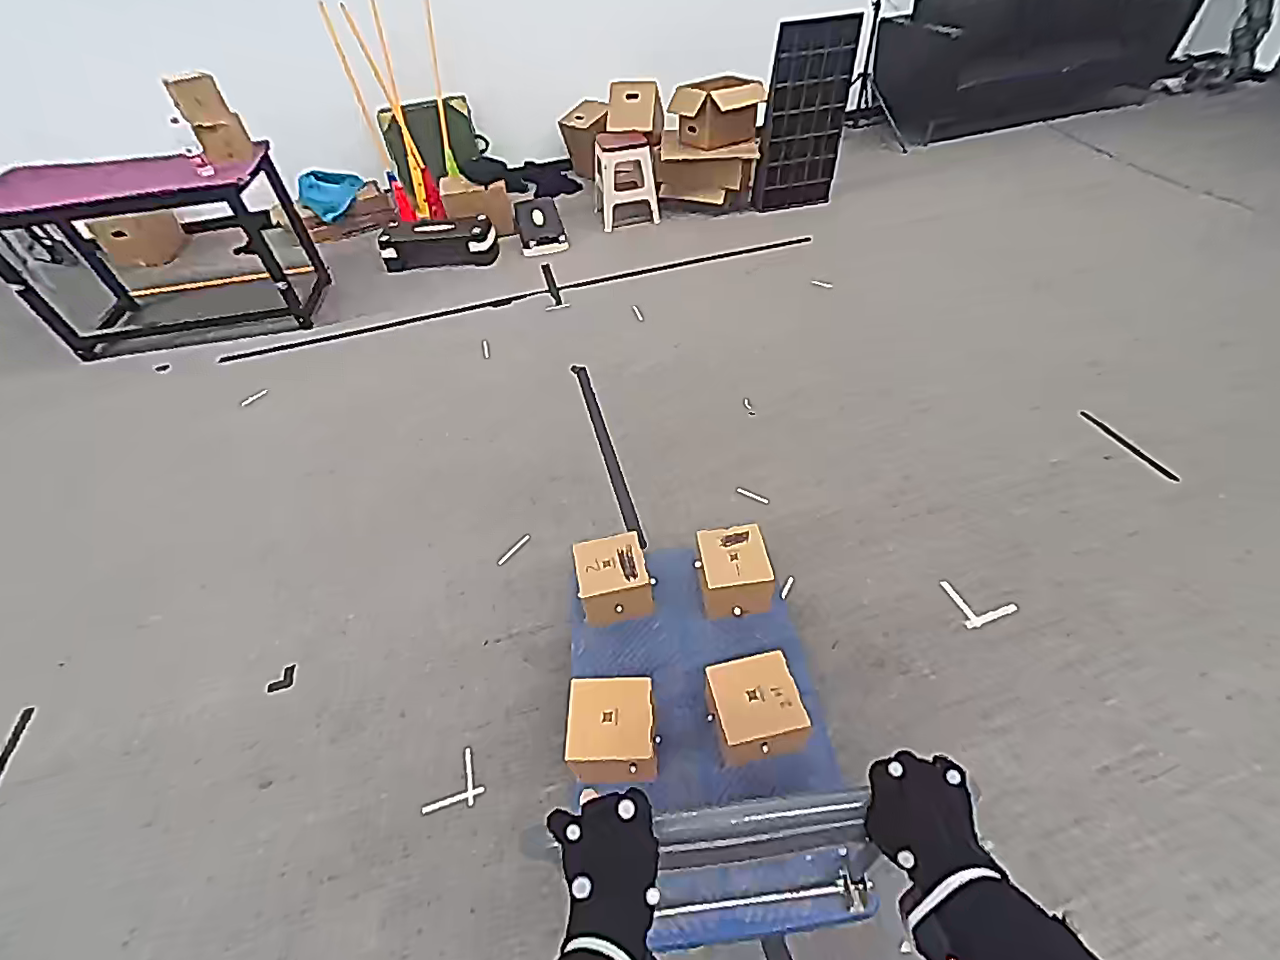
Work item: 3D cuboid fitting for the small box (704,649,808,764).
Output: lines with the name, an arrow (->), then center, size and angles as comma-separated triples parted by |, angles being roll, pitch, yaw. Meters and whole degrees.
small box -> 0.248, 0.502, 1.191 | 0.179, 0.176, 0.168 | -12, 47, -4

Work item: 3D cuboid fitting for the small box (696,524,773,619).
small box -> 0.241, 0.243, 1.430 | 0.168, 0.176, 0.179 | -8, 48, -1

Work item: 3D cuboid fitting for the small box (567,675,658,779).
small box -> -0.055, 0.545, 1.185 | 0.179, 0.176, 0.168 | -4, 48, 2
